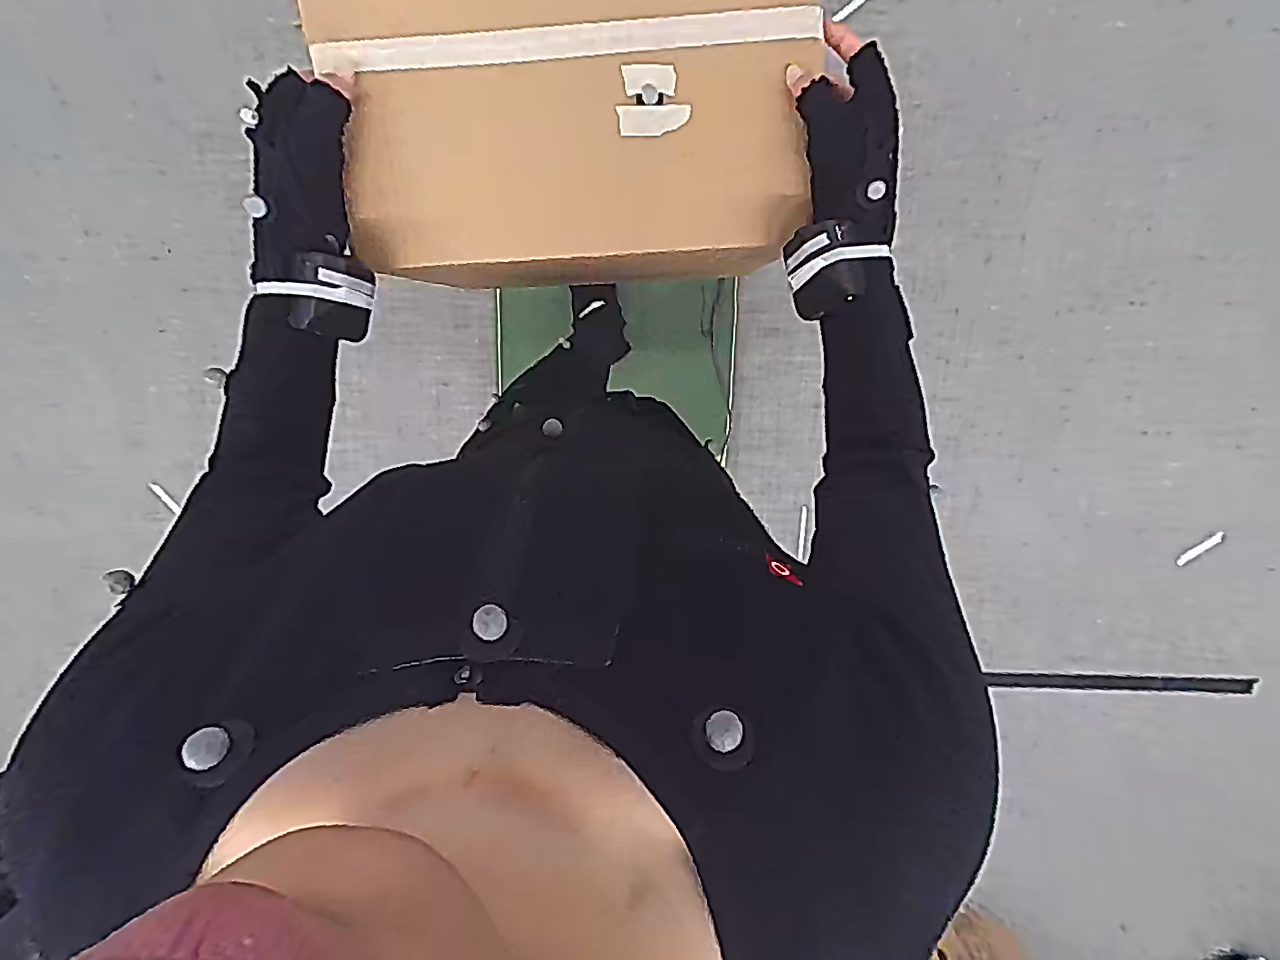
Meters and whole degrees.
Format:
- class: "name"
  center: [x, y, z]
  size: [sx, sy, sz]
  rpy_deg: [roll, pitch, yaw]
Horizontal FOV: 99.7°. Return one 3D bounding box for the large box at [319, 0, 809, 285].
- class: "large box"
  center: [-0.062, -0.401, 0.588]
  size: [0.408, 0.320, 0.320]
  rpy_deg: [-4, 106, 1]
